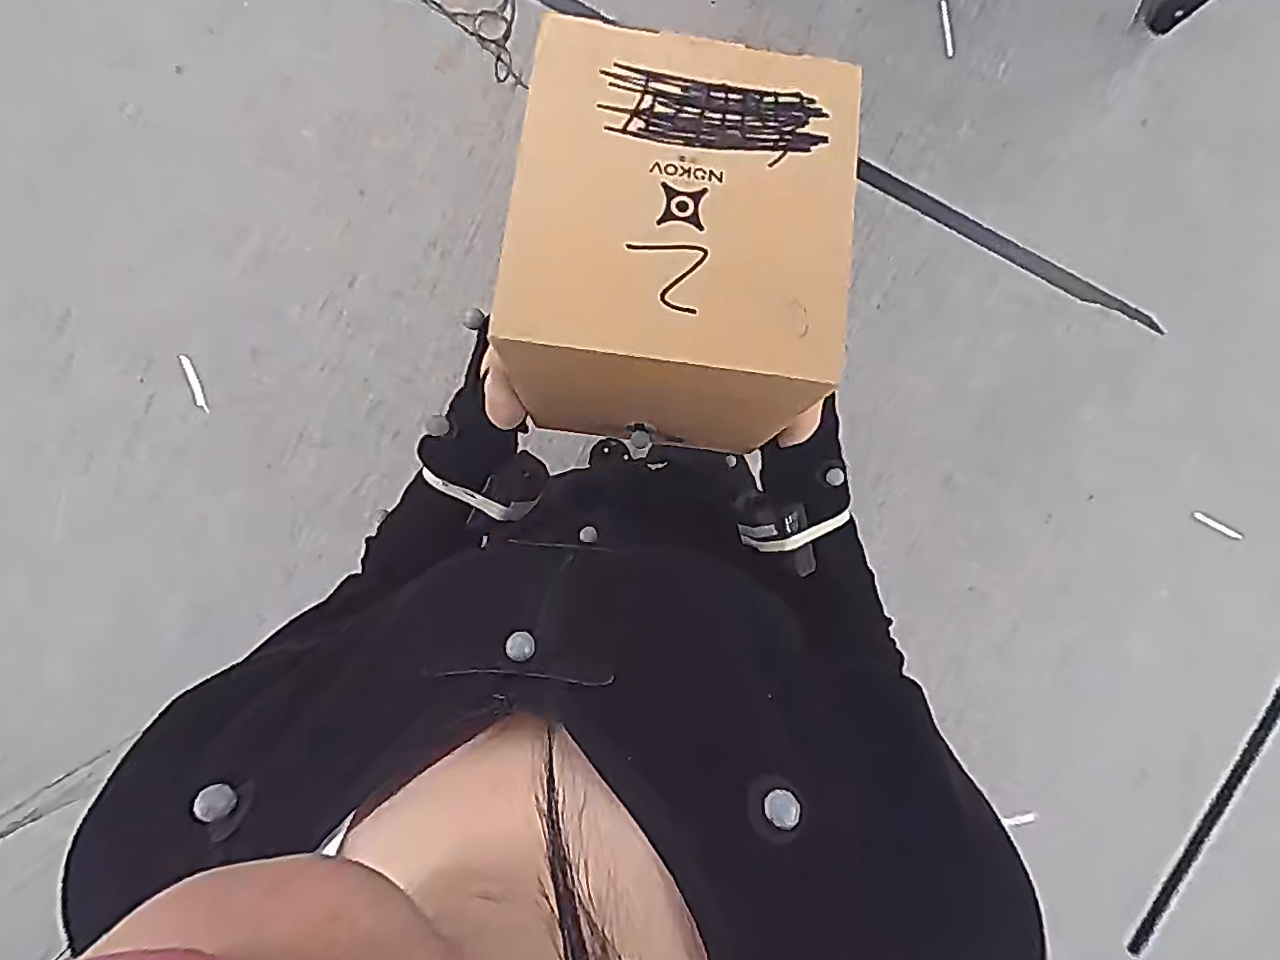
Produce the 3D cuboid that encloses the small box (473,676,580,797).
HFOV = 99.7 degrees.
[{"bbox_3d":[-0.254,0.581,1.254,0.179,0.176,0.168,23,94,-3],"label":"small box"}]

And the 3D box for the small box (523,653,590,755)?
[{"bbox_3d":[-0.236,0.579,1.420,0.179,0.176,0.168,20,93,-4],"label":"small box"}]

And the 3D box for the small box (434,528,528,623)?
[{"bbox_3d":[-0.399,0.237,1.392,0.168,0.176,0.179,20,94,-3],"label":"small box"}]
